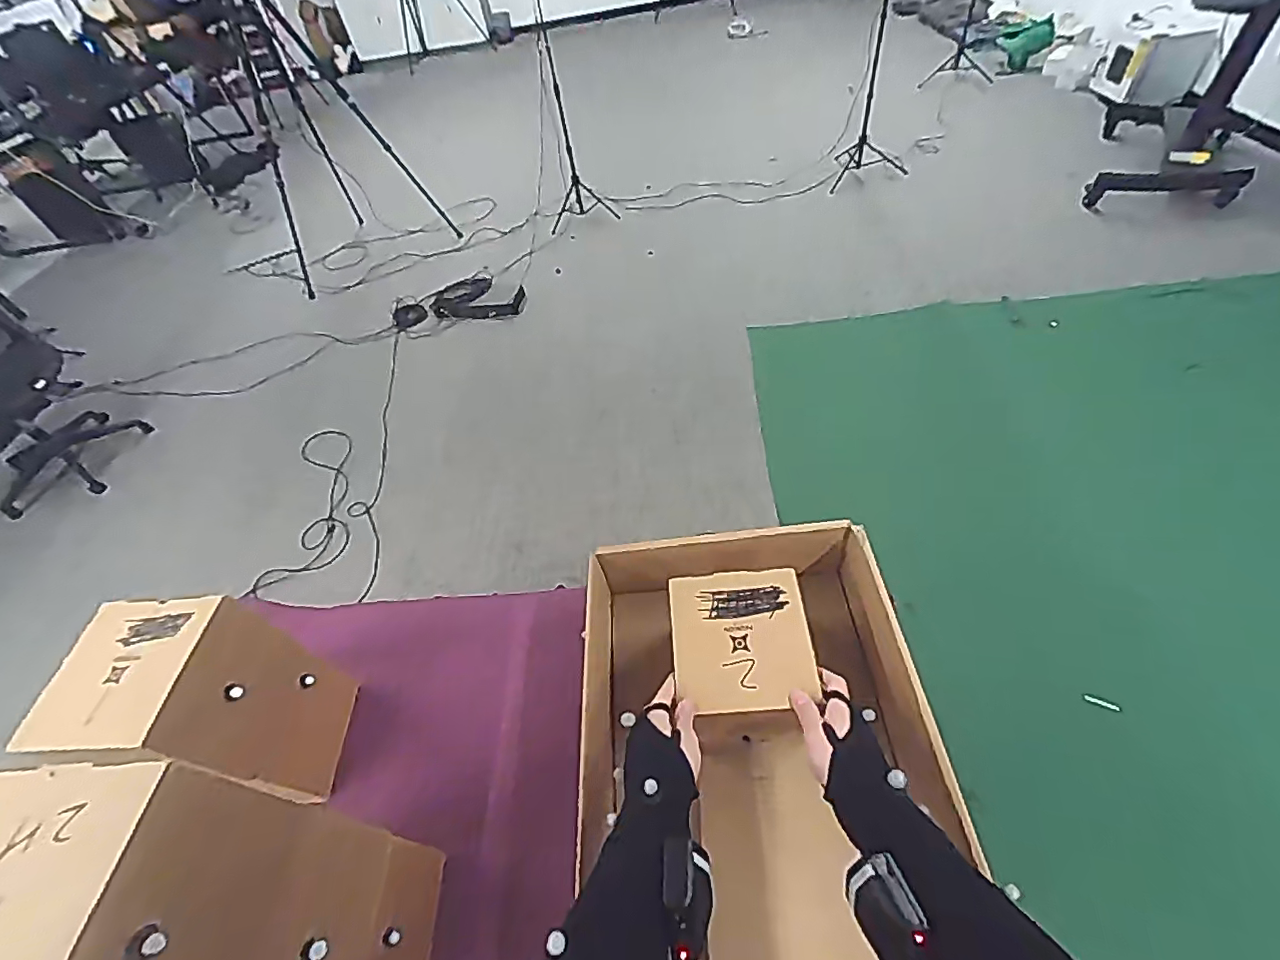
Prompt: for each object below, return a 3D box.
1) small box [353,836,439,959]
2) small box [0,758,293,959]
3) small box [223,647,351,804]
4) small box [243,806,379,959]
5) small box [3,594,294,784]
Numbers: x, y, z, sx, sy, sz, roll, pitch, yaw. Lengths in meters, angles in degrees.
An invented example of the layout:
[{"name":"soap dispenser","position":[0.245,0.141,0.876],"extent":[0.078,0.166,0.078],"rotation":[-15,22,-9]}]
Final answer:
[{"name":"small box","position":[-0.354,0.527,0.622],"extent":[0.168,0.176,0.179],"rotation":[-6,48,4]},{"name":"small box","position":[-0.390,0.311,0.377],"extent":[0.168,0.176,0.179],"rotation":[-4,49,4]},{"name":"small box","position":[-0.560,0.368,0.793],"extent":[0.168,0.176,0.179],"rotation":[-7,49,4]},{"name":"small box","position":[-0.374,0.419,0.501],"extent":[0.168,0.176,0.179],"rotation":[-5,49,3]},{"name":"small box","position":[-0.574,0.260,0.670],"extent":[0.168,0.176,0.179],"rotation":[-4,50,6]}]
